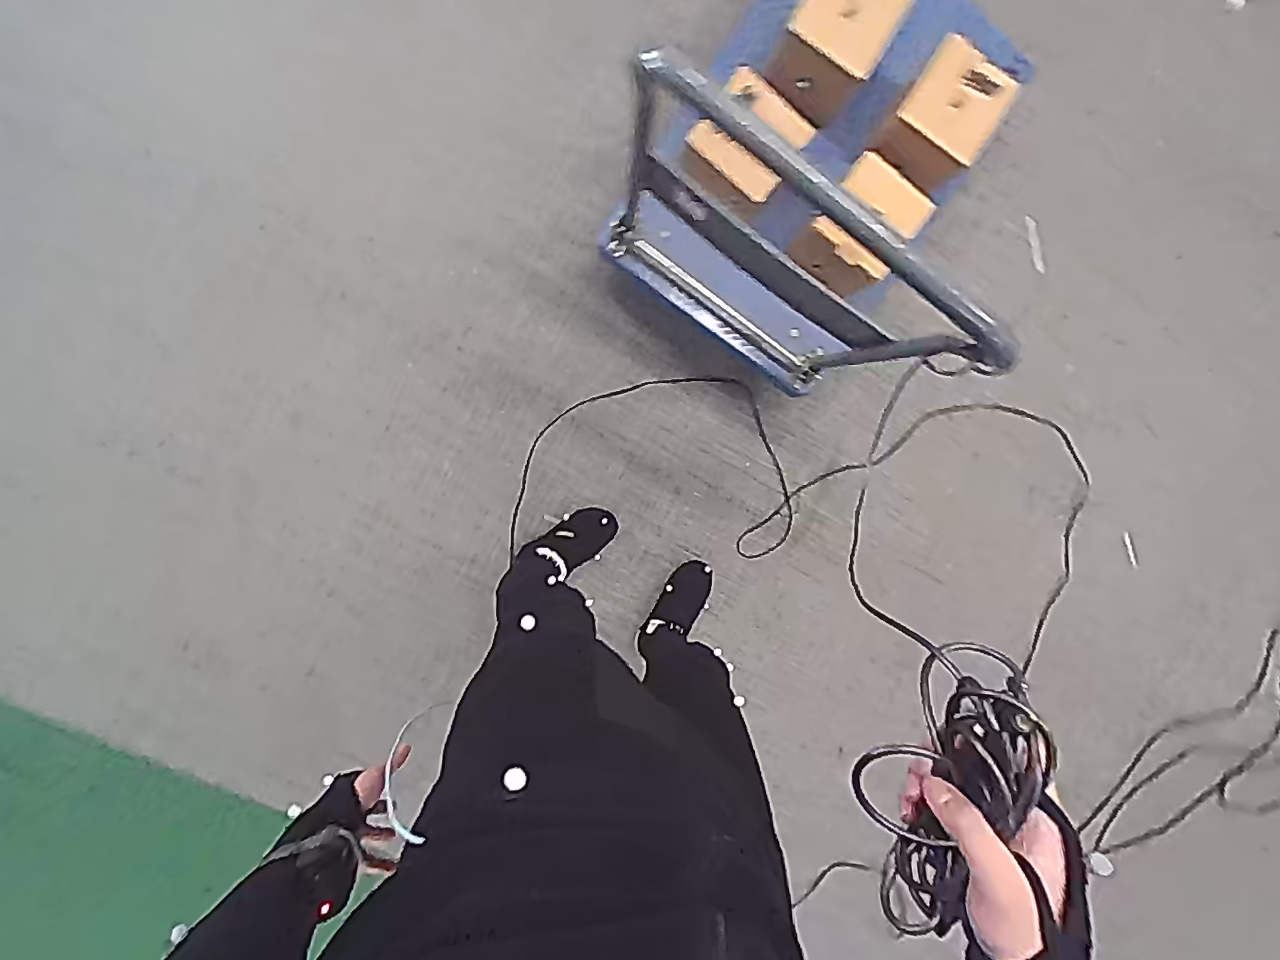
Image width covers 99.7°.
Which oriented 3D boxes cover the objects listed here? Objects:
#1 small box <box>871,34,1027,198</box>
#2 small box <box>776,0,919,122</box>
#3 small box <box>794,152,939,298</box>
[{"bbox_3d":[0.594,-0.699,1.066,0.168,0.176,0.179,33,94,-6],"label":"small box"},{"bbox_3d":[0.382,-0.841,1.034,0.168,0.176,0.179,31,93,-8],"label":"small box"},{"bbox_3d":[0.438,-0.495,1.080,0.168,0.176,0.179,36,93,-7],"label":"small box"}]
